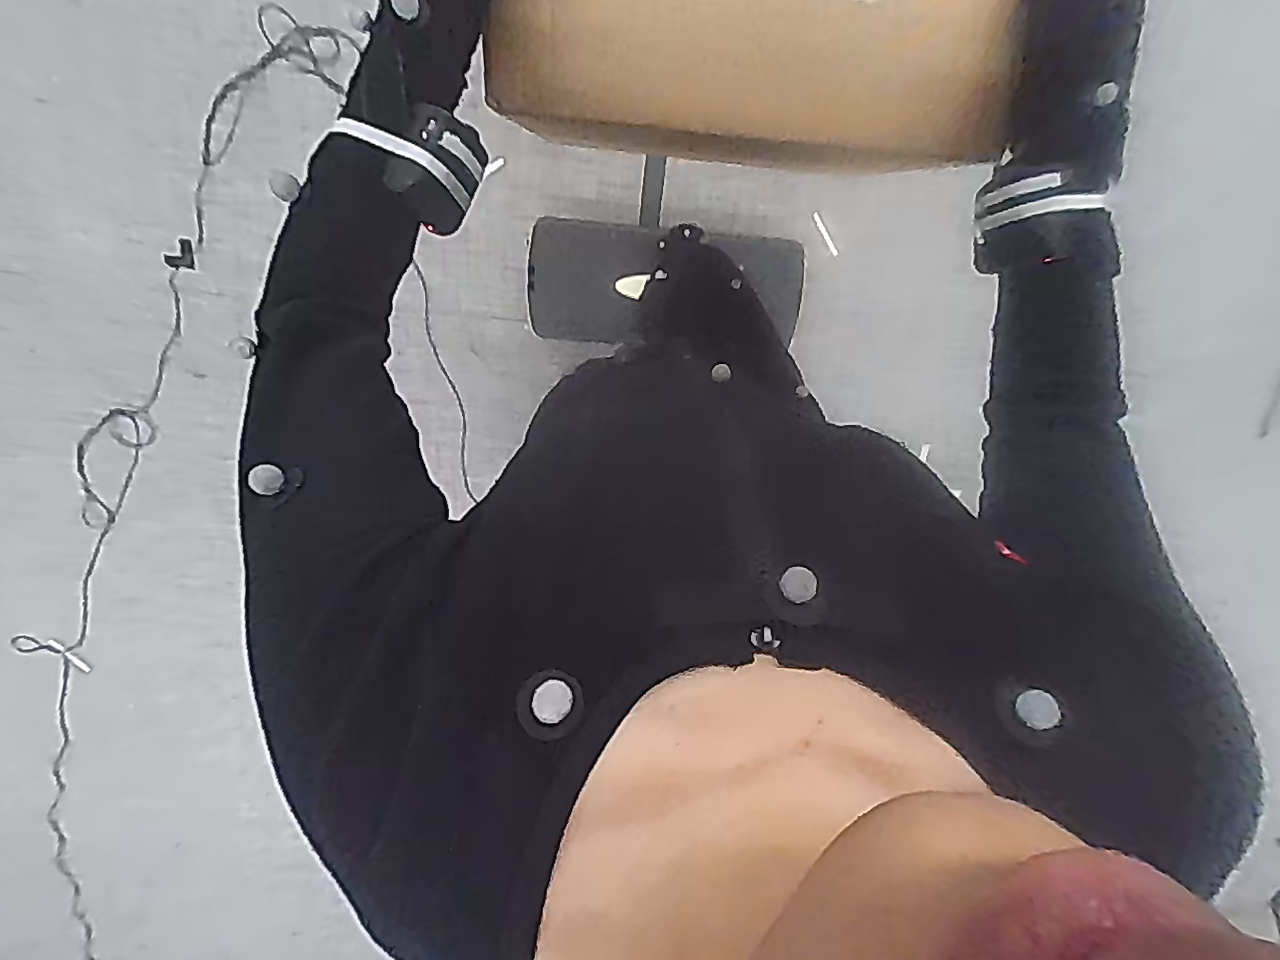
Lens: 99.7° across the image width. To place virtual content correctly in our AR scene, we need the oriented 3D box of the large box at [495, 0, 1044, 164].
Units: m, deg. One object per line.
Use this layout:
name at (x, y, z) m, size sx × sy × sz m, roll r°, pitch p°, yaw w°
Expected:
large box at (0.095, -0.483, 0.484) m, size 0.408 × 0.320 × 0.320 m, roll 3°, pitch 118°, yaw -3°
